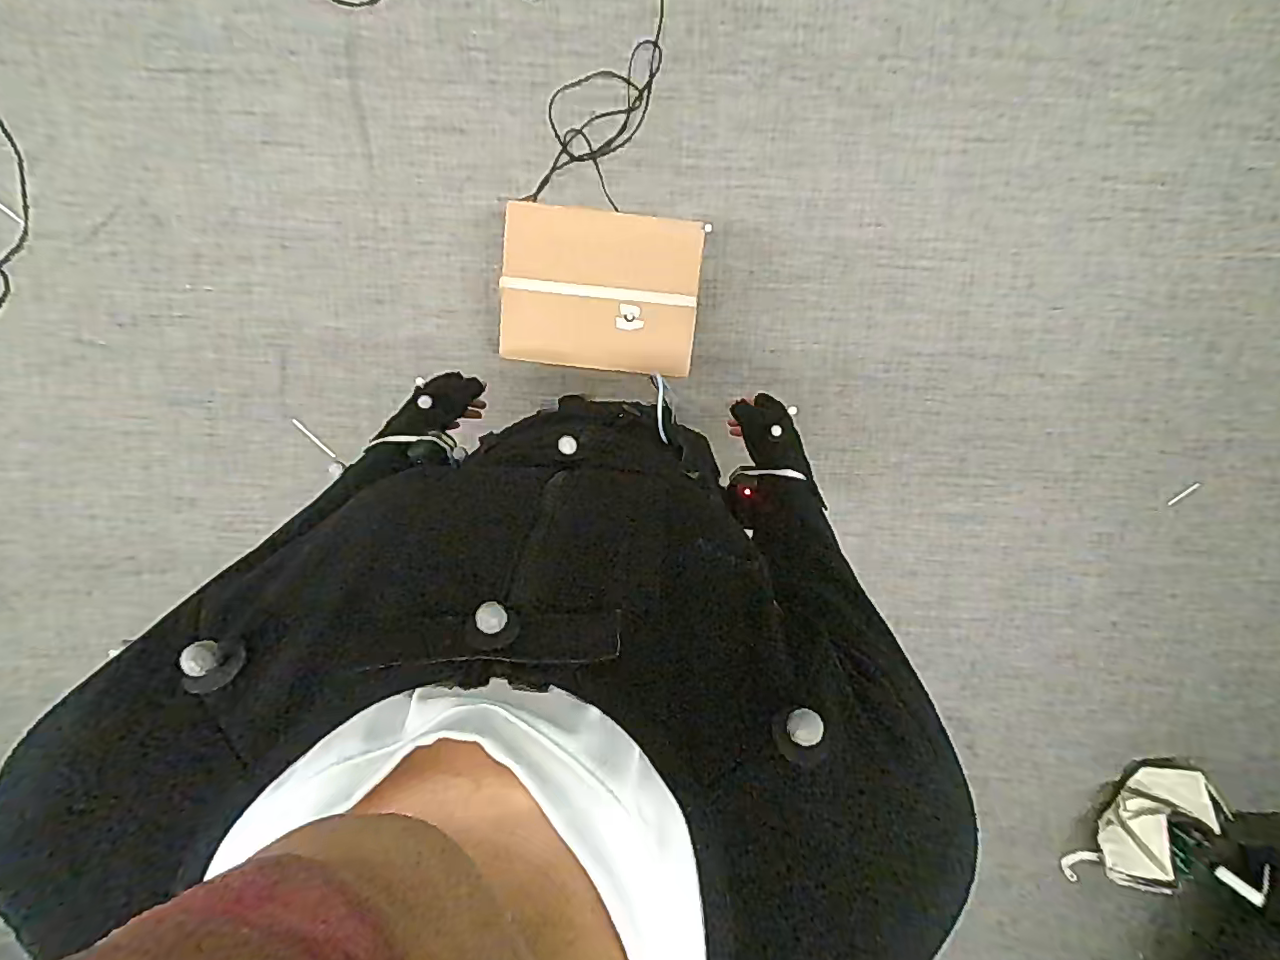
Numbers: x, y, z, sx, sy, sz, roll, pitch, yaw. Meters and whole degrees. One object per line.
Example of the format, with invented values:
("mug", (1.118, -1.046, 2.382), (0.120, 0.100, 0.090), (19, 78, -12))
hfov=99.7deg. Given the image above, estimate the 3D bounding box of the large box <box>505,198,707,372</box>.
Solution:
("large box", (-0.078, -0.424, 1.255), (0.408, 0.320, 0.320), (6, 102, -2))
